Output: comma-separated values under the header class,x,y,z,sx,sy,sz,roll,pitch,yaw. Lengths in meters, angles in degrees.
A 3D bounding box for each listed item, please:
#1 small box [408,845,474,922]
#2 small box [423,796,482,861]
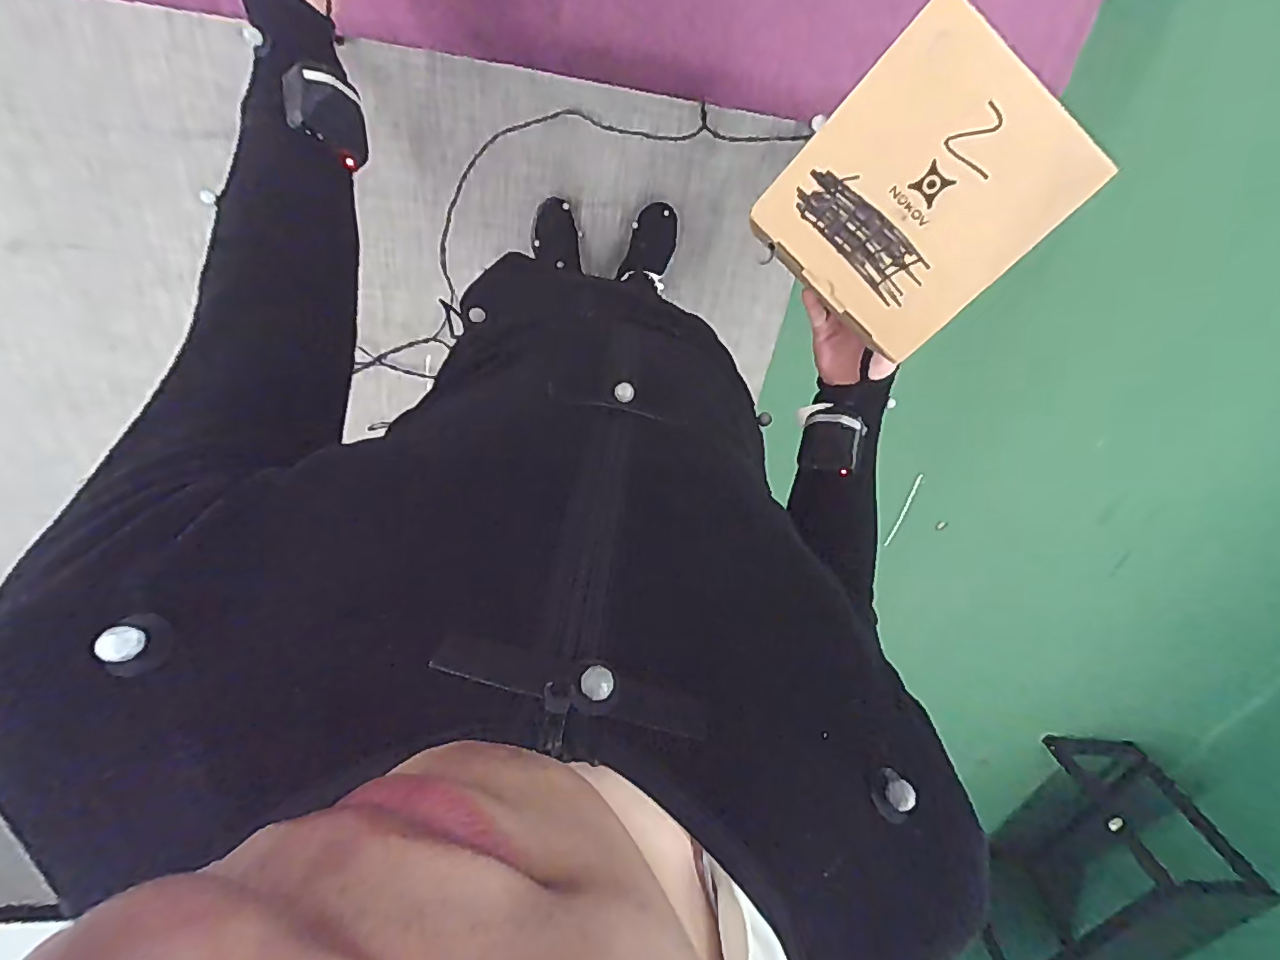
class,x,y,z,sx,sy,sz,roll,pitch,yaw
small box,-0.629,1.300,1.722,0.168,0.176,0.179,7,118,-9
small box,-0.644,1.224,1.864,0.168,0.176,0.179,7,118,-10
